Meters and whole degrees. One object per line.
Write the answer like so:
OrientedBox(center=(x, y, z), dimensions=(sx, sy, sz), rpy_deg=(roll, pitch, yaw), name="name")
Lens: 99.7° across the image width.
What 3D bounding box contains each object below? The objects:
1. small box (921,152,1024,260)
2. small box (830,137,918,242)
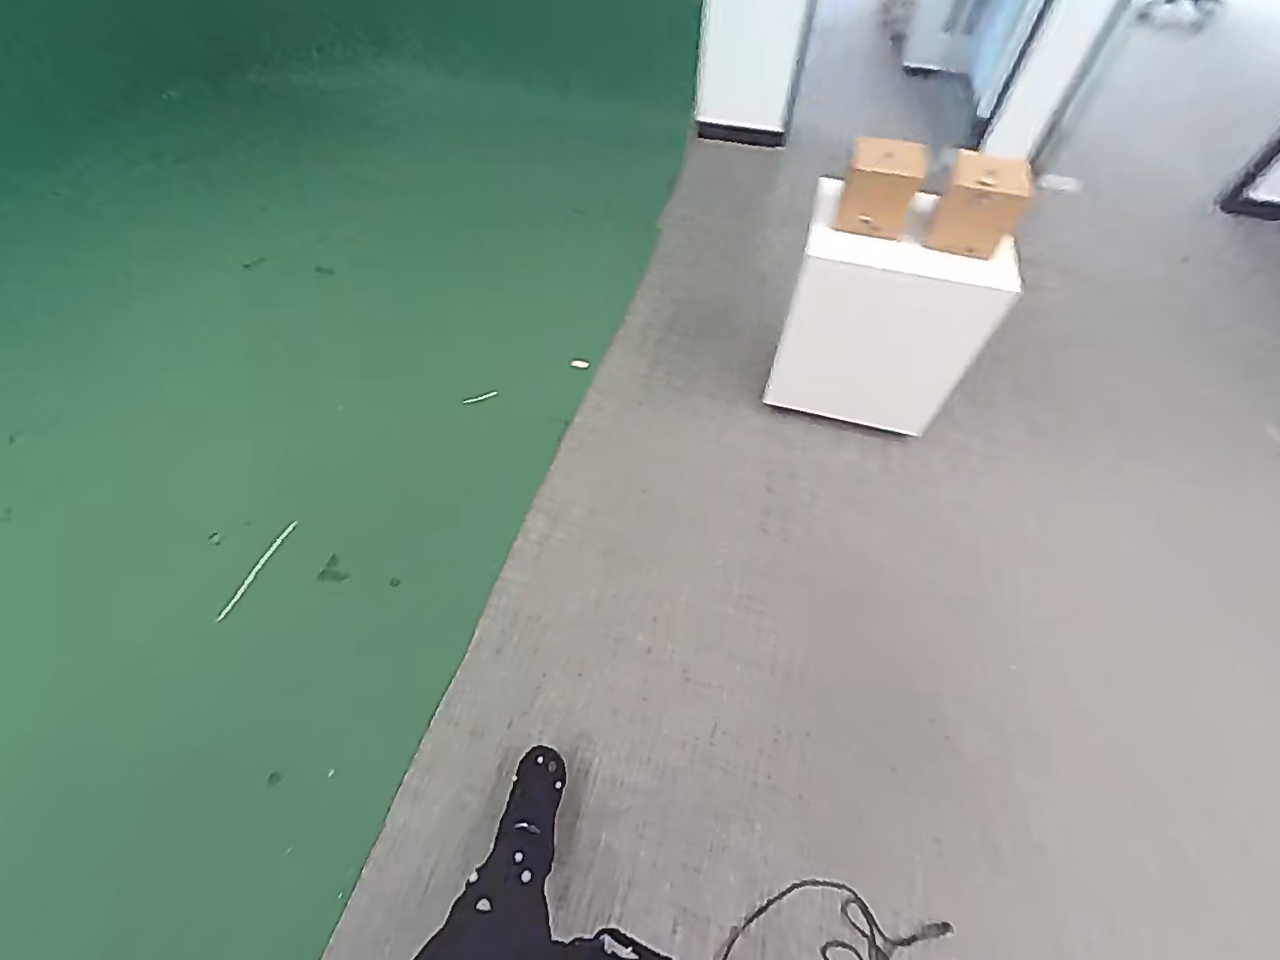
OrientedBox(center=(0.827, -0.687, 1.359), dimensions=(0.168, 0.176, 0.179), rpy_deg=(16, 57, 11), name="small box")
OrientedBox(center=(0.603, -0.751, 1.404), dimensions=(0.168, 0.176, 0.179), rpy_deg=(12, 58, 8), name="small box")
